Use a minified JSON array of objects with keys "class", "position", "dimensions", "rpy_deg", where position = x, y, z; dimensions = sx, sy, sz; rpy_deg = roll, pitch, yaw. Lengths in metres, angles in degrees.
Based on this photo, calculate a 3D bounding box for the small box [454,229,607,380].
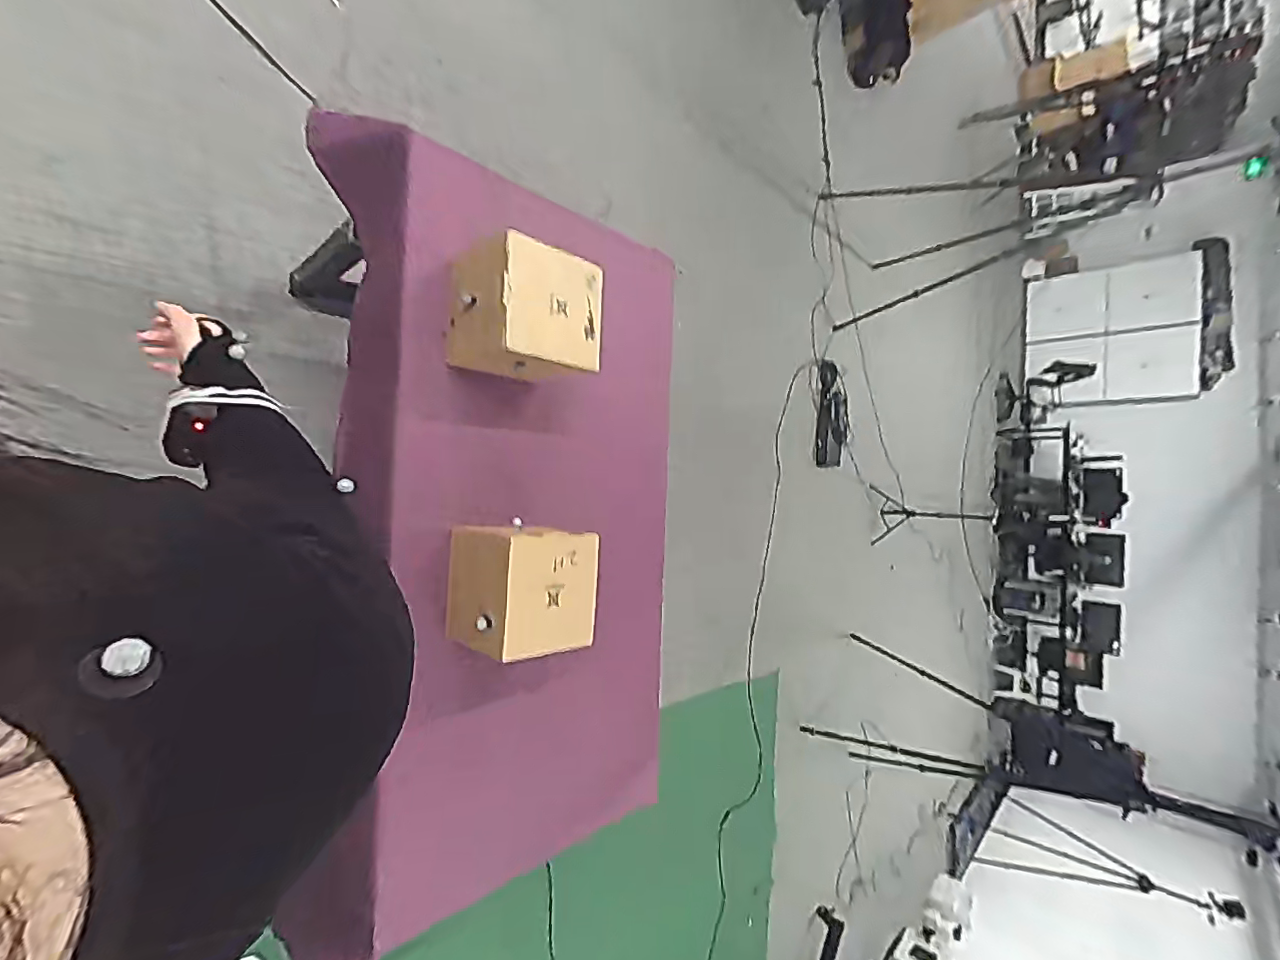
[{"class":"small box","position":[-0.174,-0.257,0.844],"dimensions":[0.179,0.176,0.168],"rpy_deg":[3,89,-45]}]

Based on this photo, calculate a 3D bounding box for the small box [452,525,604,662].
[{"class":"small box","position":[-0.178,0.166,0.847],"dimensions":[0.168,0.176,0.179],"rpy_deg":[6,86,-46]}]
